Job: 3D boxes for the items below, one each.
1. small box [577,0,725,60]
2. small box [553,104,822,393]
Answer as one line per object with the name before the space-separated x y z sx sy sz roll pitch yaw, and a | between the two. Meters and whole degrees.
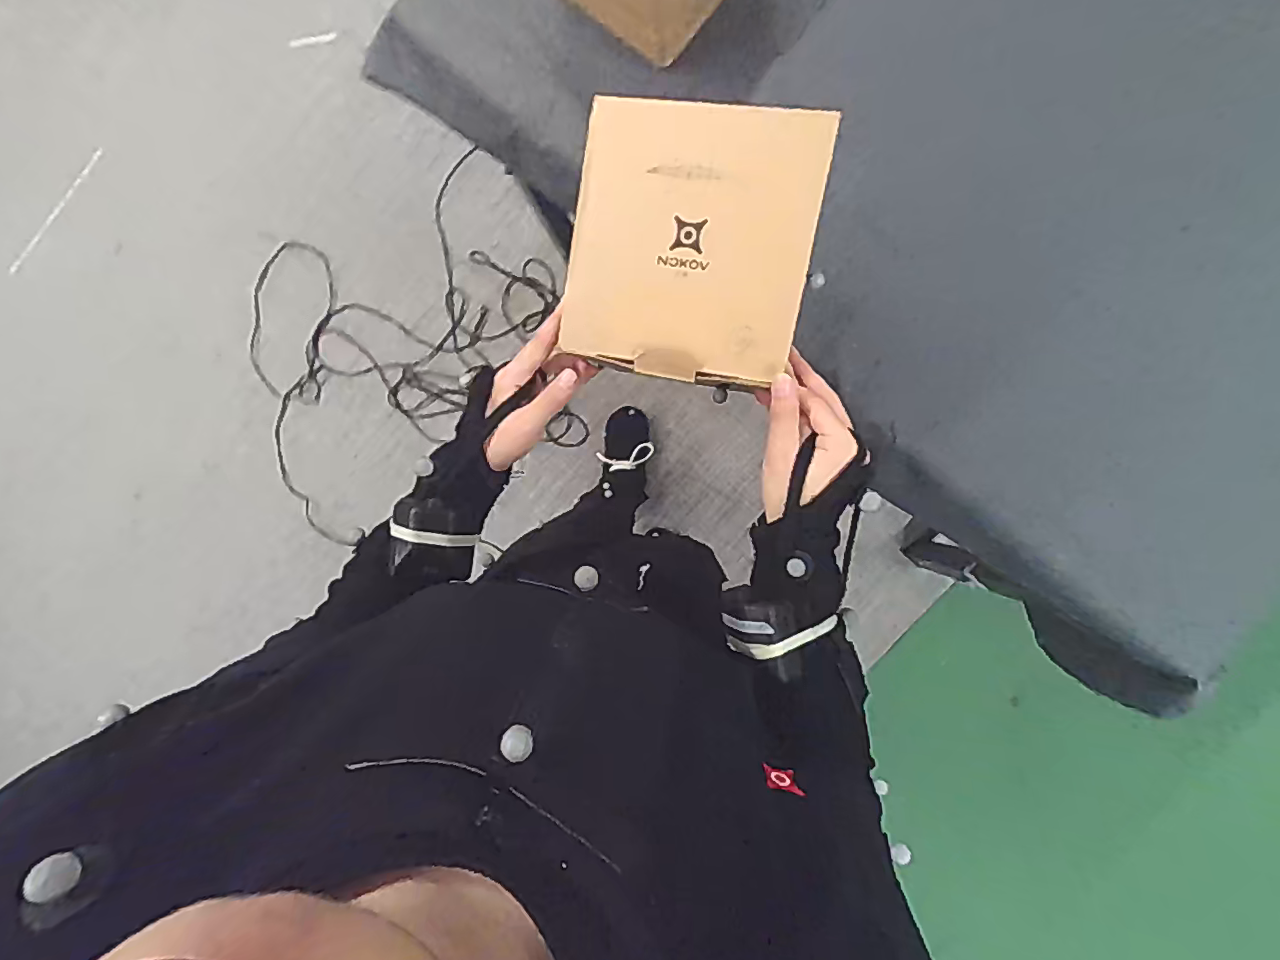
small box | 0.009 -0.603 0.564 0.179 0.176 0.168 41 93 5
small box | 0.042 -0.169 0.446 0.168 0.176 0.179 10 99 10
